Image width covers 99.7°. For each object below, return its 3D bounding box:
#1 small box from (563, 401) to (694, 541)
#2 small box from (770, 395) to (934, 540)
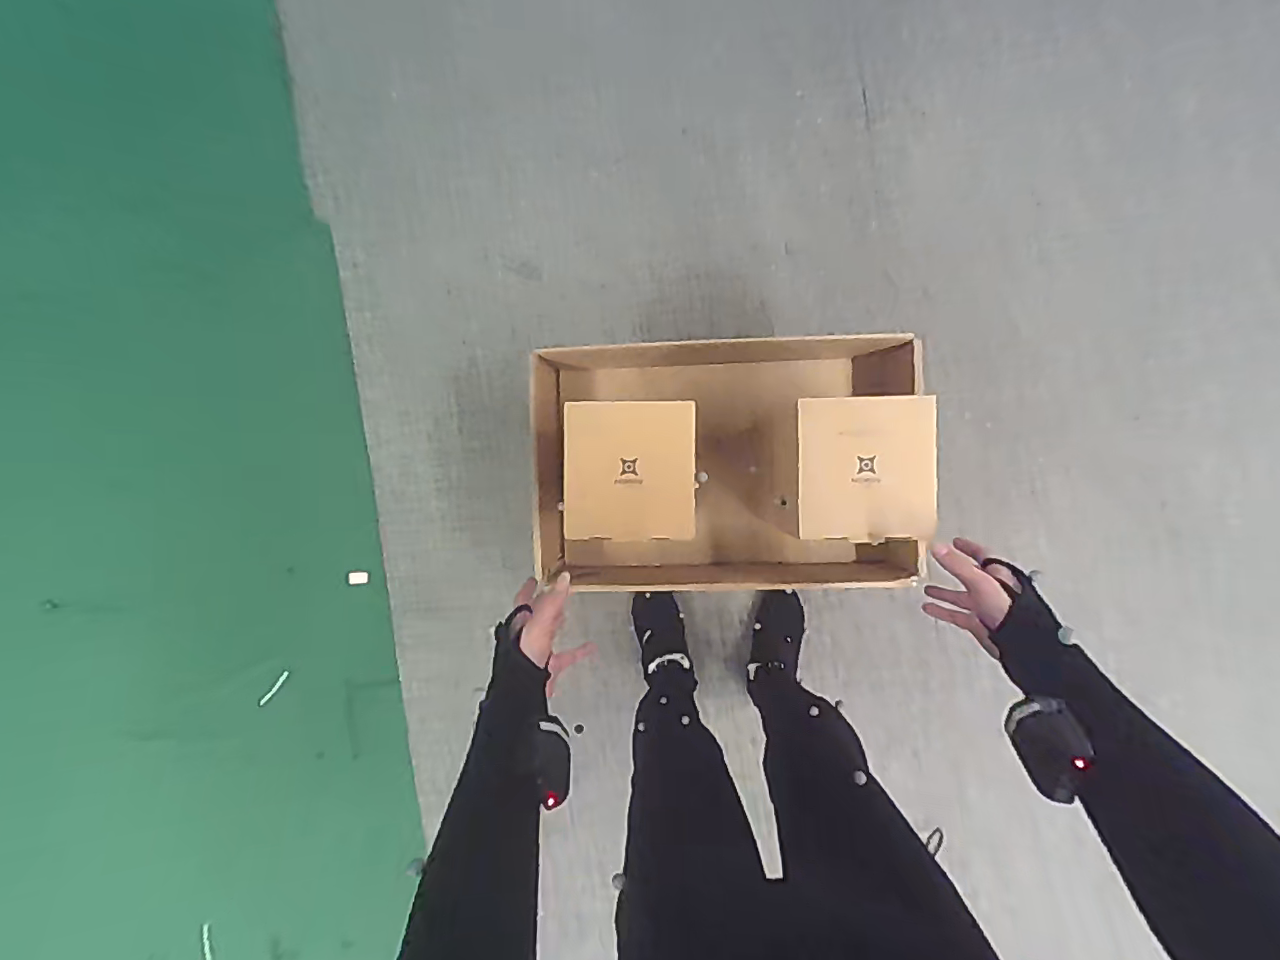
[{"bbox_3d":[-0.010,-0.012,0.756,0.168,0.176,0.179,0,91,4],"label":"small box"},{"bbox_3d":[0.274,-0.015,0.730,0.168,0.176,0.179,-1,90,4],"label":"small box"}]
